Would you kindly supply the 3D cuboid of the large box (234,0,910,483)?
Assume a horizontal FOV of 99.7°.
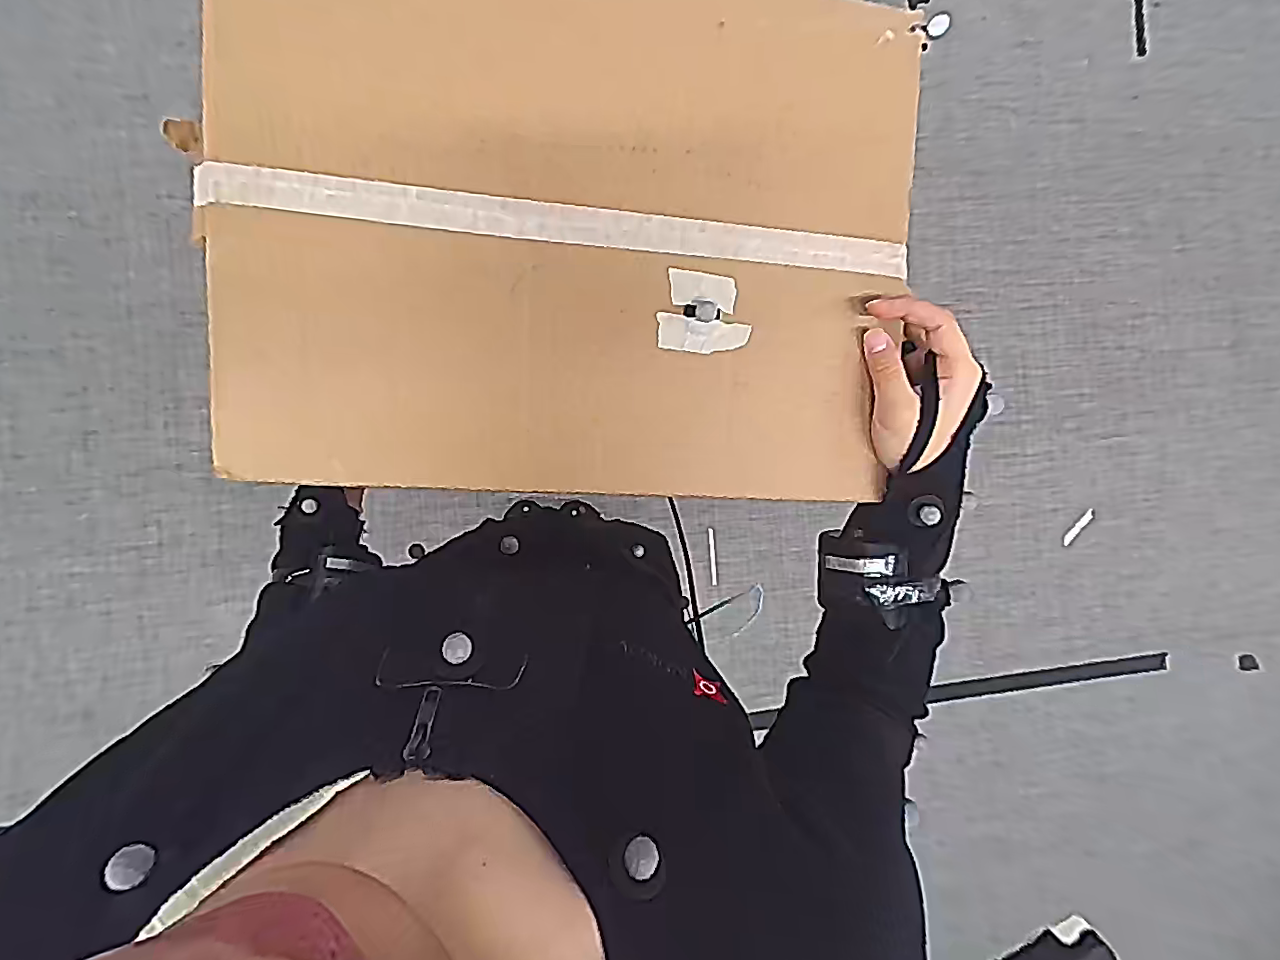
[{"bbox_3d":[-0.051,-0.166,0.472,0.408,0.320,0.320,2,95,-11],"label":"large box"}]
